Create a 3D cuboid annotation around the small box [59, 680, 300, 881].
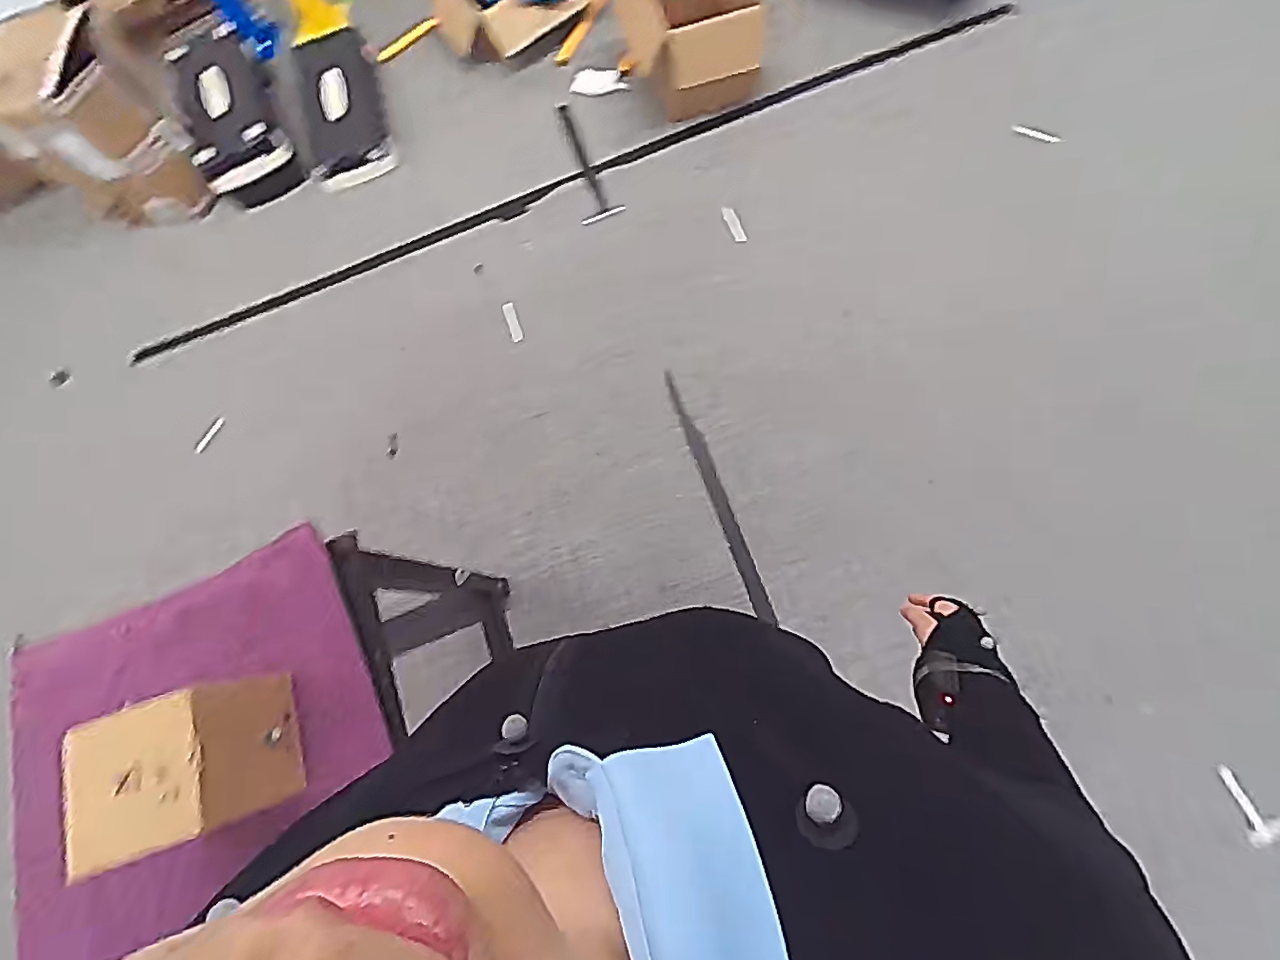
[{"bbox_3d":[-0.596,0.379,0.714,0.179,0.176,0.168,-21,74,2],"label":"small box"}]
